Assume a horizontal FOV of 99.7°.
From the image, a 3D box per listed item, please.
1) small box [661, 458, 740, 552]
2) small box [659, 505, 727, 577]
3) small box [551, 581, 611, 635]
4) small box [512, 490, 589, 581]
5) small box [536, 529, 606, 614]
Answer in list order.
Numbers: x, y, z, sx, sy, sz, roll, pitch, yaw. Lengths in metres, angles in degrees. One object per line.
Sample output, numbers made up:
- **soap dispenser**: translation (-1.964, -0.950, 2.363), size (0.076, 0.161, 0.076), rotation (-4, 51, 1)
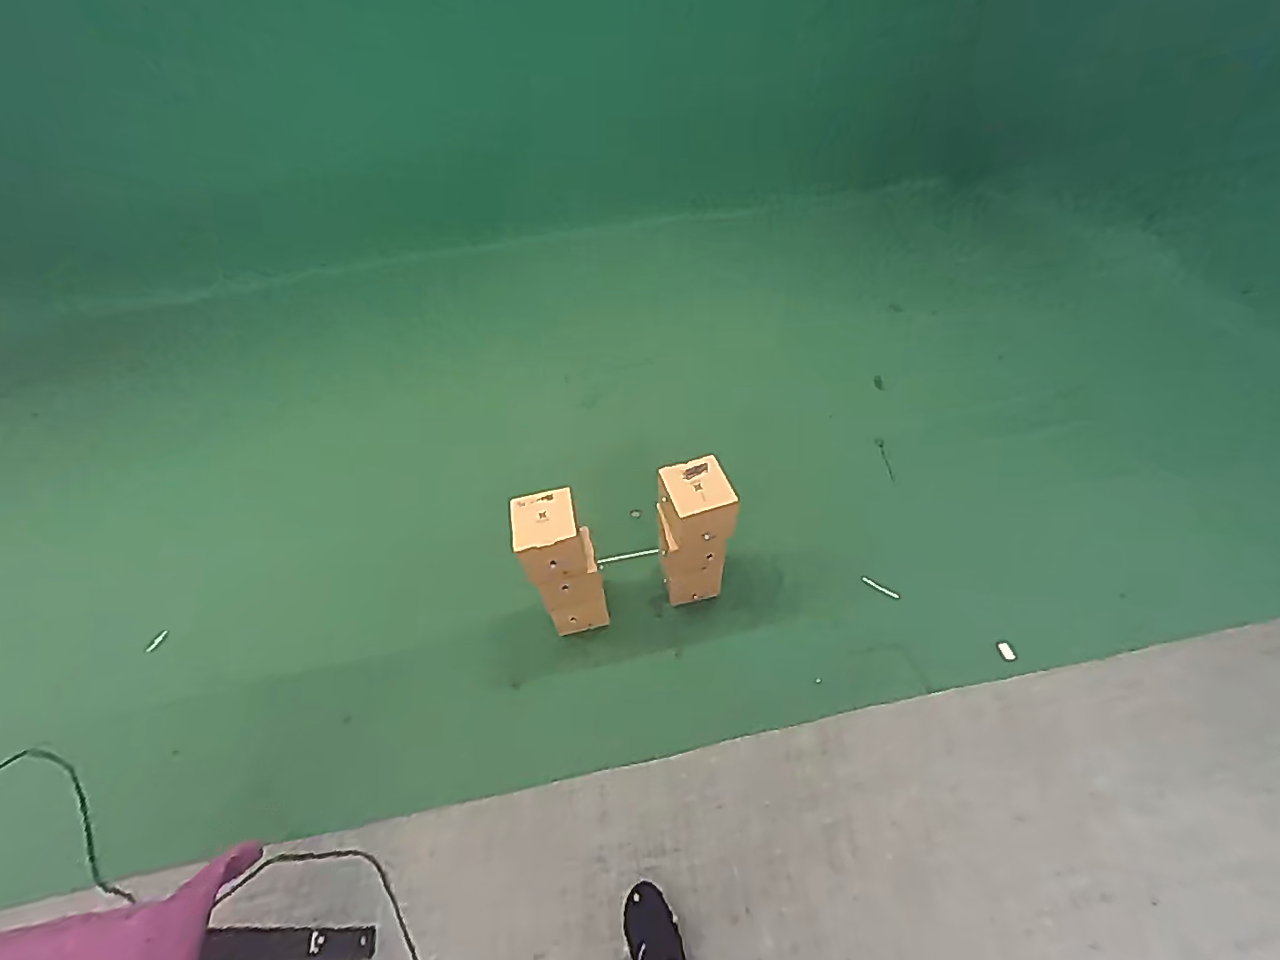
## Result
- **small box**: translation (0.161, 0.071, 1.508), size (0.168, 0.176, 0.179), rotation (-16, 52, -9)
- **small box**: translation (0.157, 0.178, 1.632), size (0.168, 0.176, 0.179), rotation (-11, 50, -6)
- **small box**: translation (-0.191, 0.375, 1.715), size (0.168, 0.176, 0.179), rotation (-13, 49, -5)
- **small box**: translation (-0.241, 0.159, 1.472), size (0.168, 0.176, 0.179), rotation (-12, 50, -4)
- **small box**: translation (-0.206, 0.273, 1.588), size (0.179, 0.176, 0.168), rotation (-12, 49, -5)
